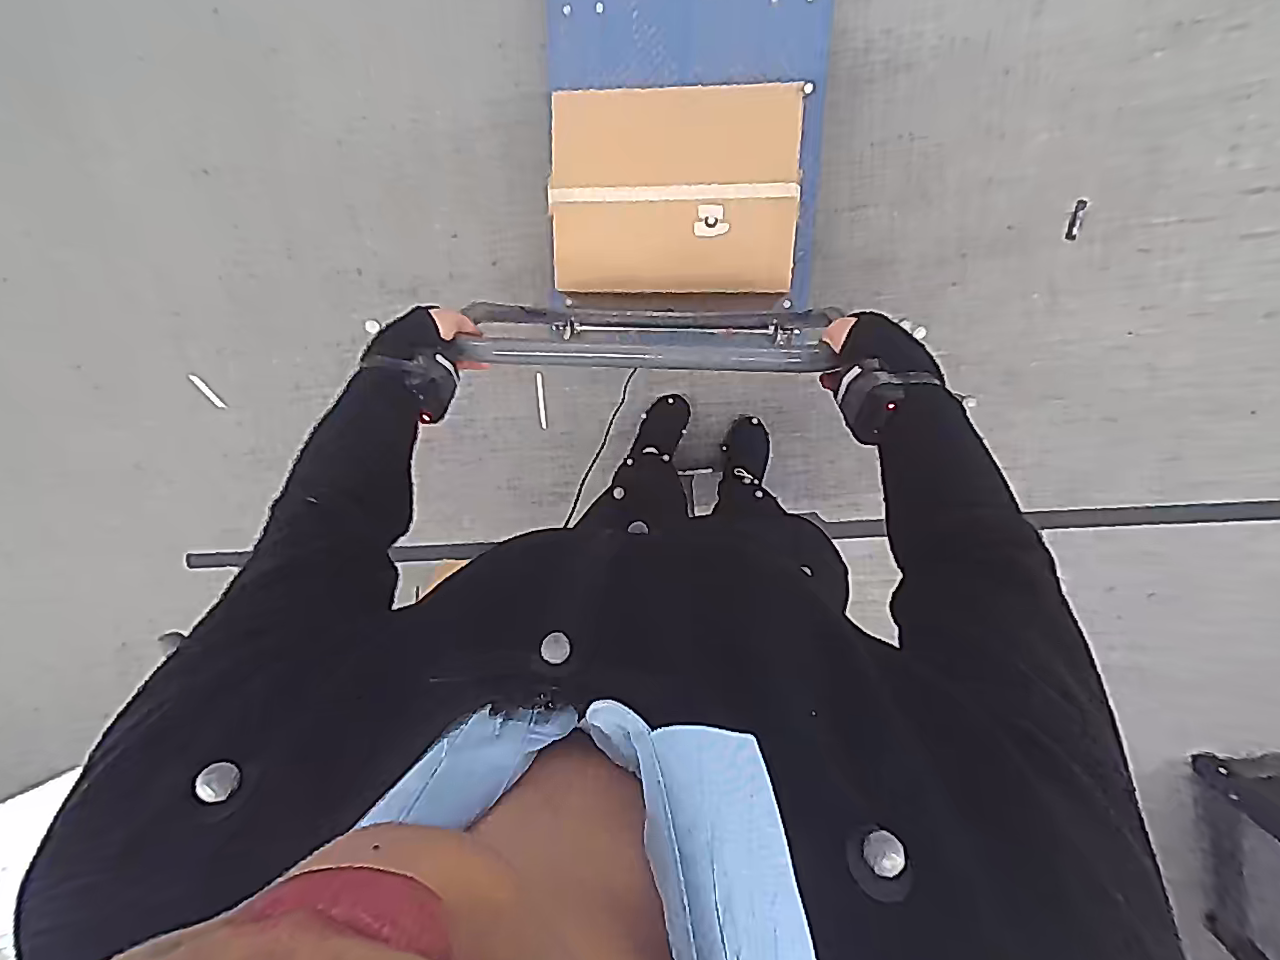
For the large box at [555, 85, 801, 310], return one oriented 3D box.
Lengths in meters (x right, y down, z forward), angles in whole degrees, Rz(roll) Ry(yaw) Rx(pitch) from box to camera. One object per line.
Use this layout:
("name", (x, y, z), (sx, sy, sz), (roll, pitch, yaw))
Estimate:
("large box", (0.071, -0.506, 1.044), (0.408, 0.320, 0.320), (2, 103, 6))
